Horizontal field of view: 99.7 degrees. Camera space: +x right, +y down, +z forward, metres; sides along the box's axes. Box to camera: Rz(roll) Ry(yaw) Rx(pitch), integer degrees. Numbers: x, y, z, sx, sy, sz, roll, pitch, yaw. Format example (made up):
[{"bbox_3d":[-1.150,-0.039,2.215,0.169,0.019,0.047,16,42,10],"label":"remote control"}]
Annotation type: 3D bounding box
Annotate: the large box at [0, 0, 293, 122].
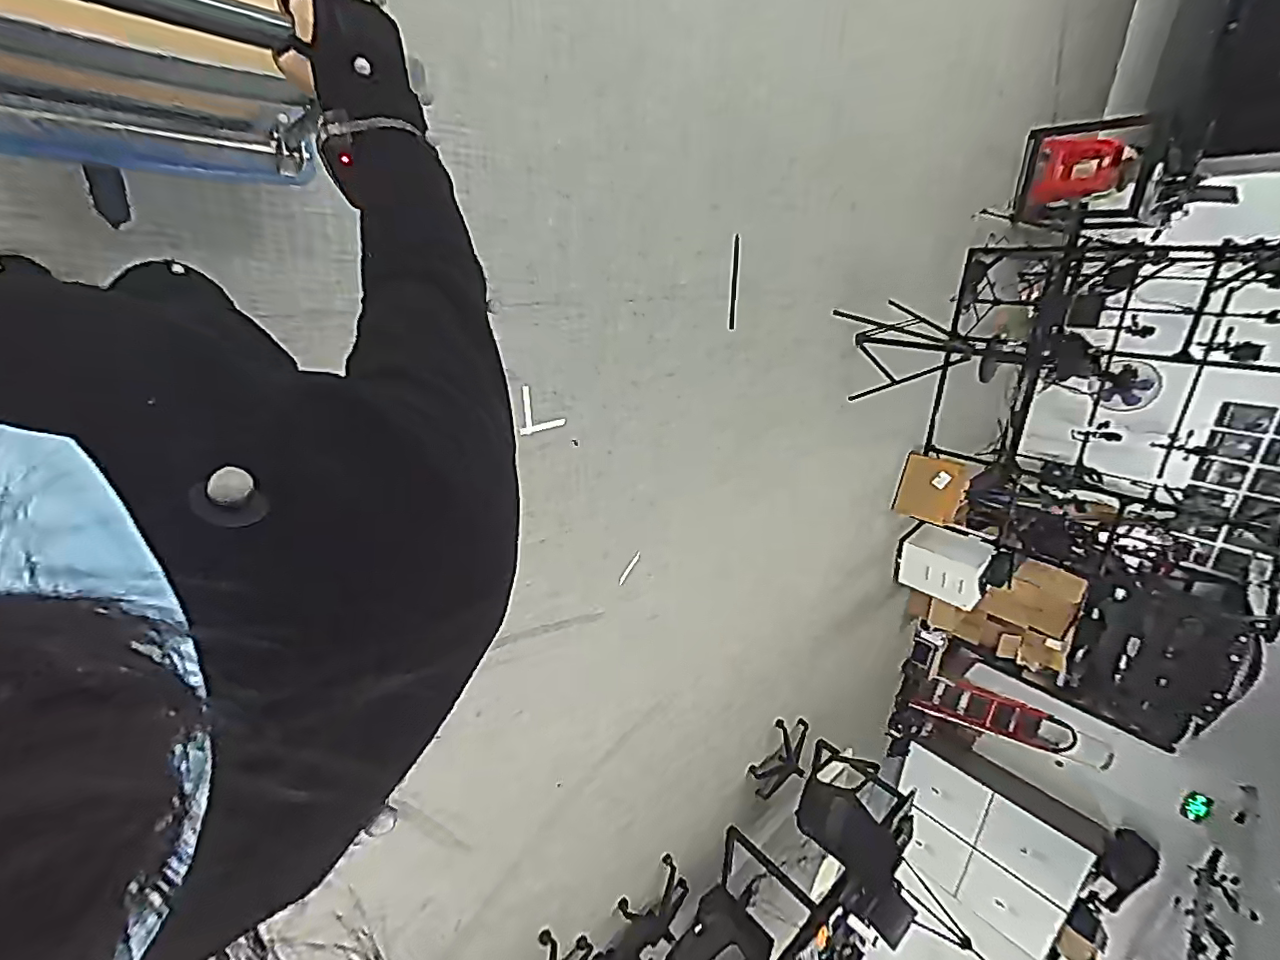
[{"bbox_3d":[-0.730,-0.692,0.680,0.408,0.320,0.320,-16,118,-41],"label":"large box"}]
